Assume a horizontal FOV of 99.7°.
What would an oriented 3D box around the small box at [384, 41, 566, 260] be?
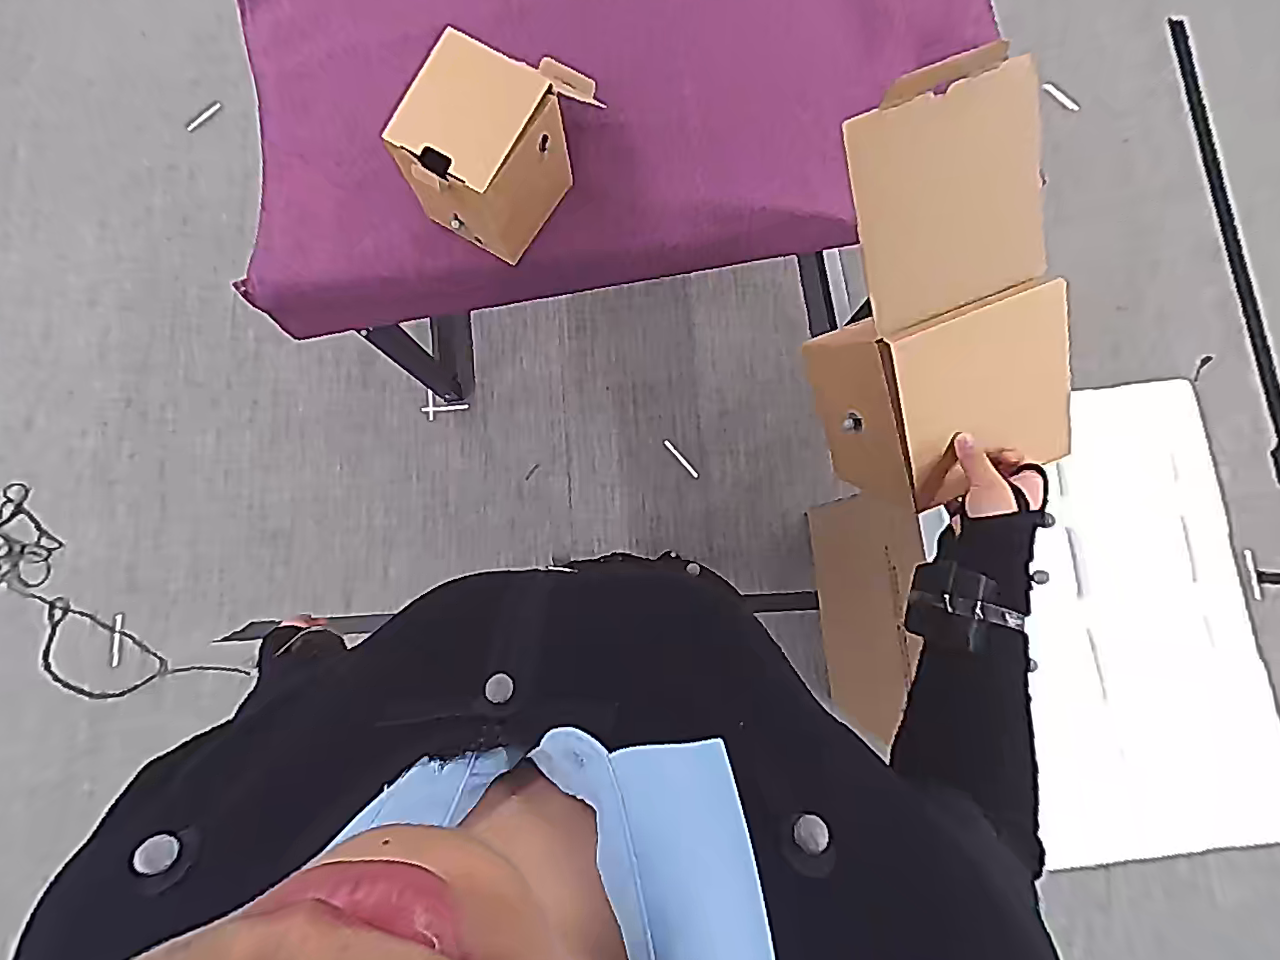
[{"bbox_3d":[-0.222,-0.466,0.787,0.168,0.176,0.179,31,82,6],"label":"small box"}]
